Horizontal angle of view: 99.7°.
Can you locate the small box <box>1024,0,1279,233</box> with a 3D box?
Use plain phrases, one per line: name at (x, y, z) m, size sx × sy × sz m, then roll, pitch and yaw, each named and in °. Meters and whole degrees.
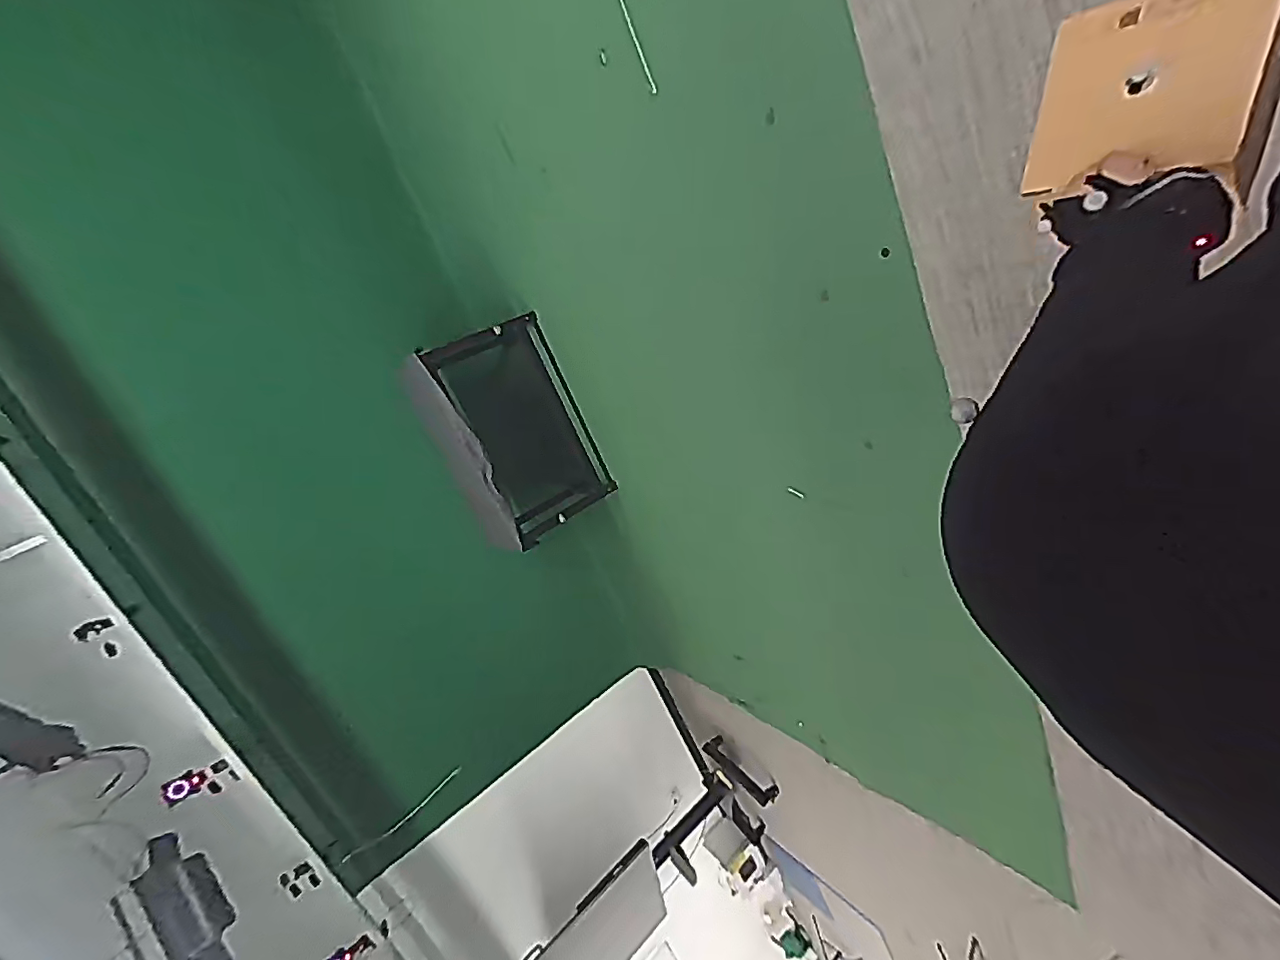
small box at (0.539, -0.381, 0.571) m, size 0.168 × 0.179 × 0.176 m, roll 17°, pitch 107°, yaw 47°
